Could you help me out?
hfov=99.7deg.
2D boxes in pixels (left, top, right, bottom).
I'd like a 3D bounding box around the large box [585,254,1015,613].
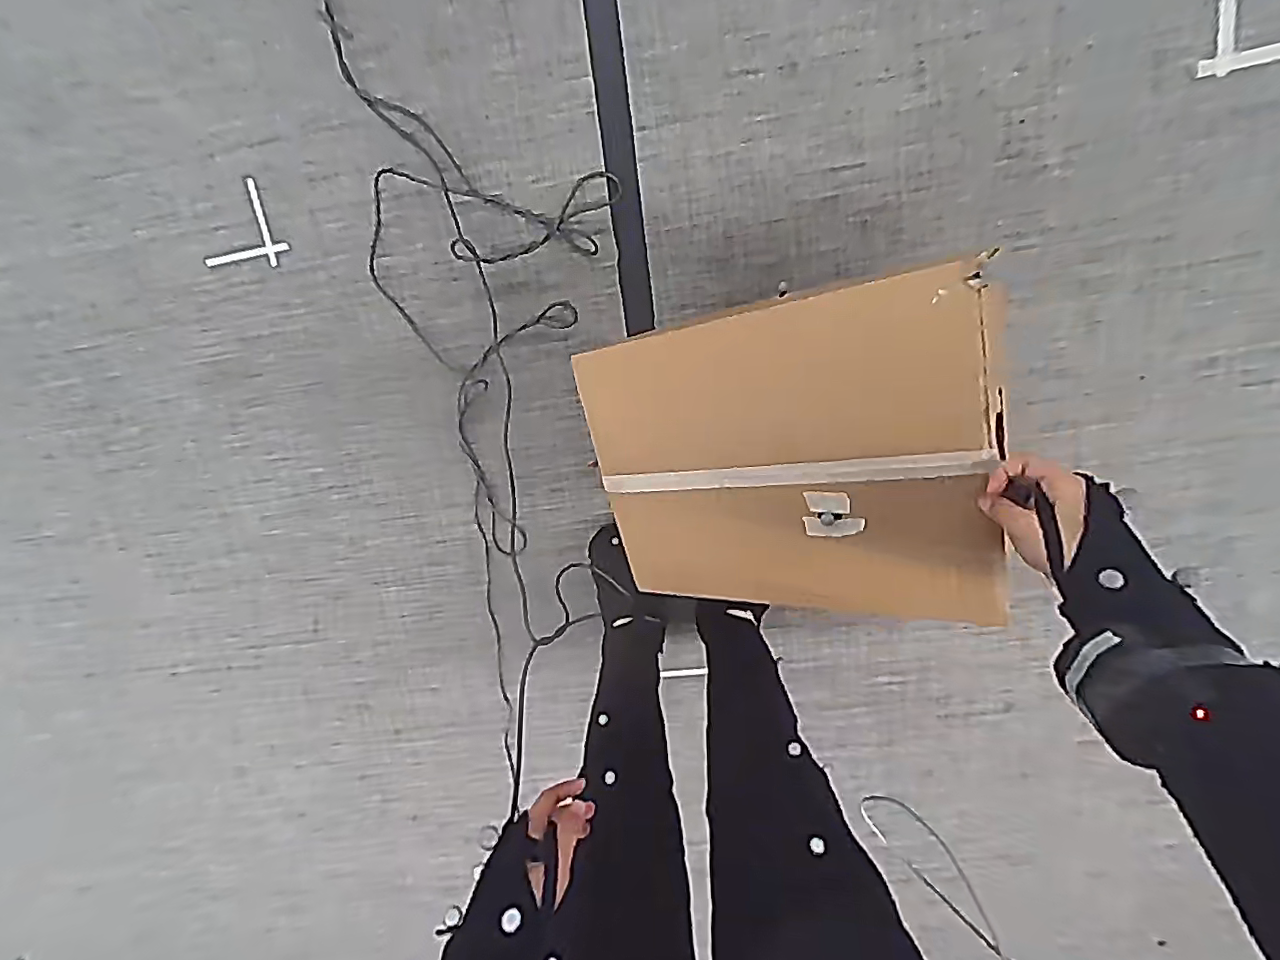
[{"bbox_3d":[0.209,-0.062,0.671,0.408,0.320,0.320,-4,109,36],"label":"large box"}]
